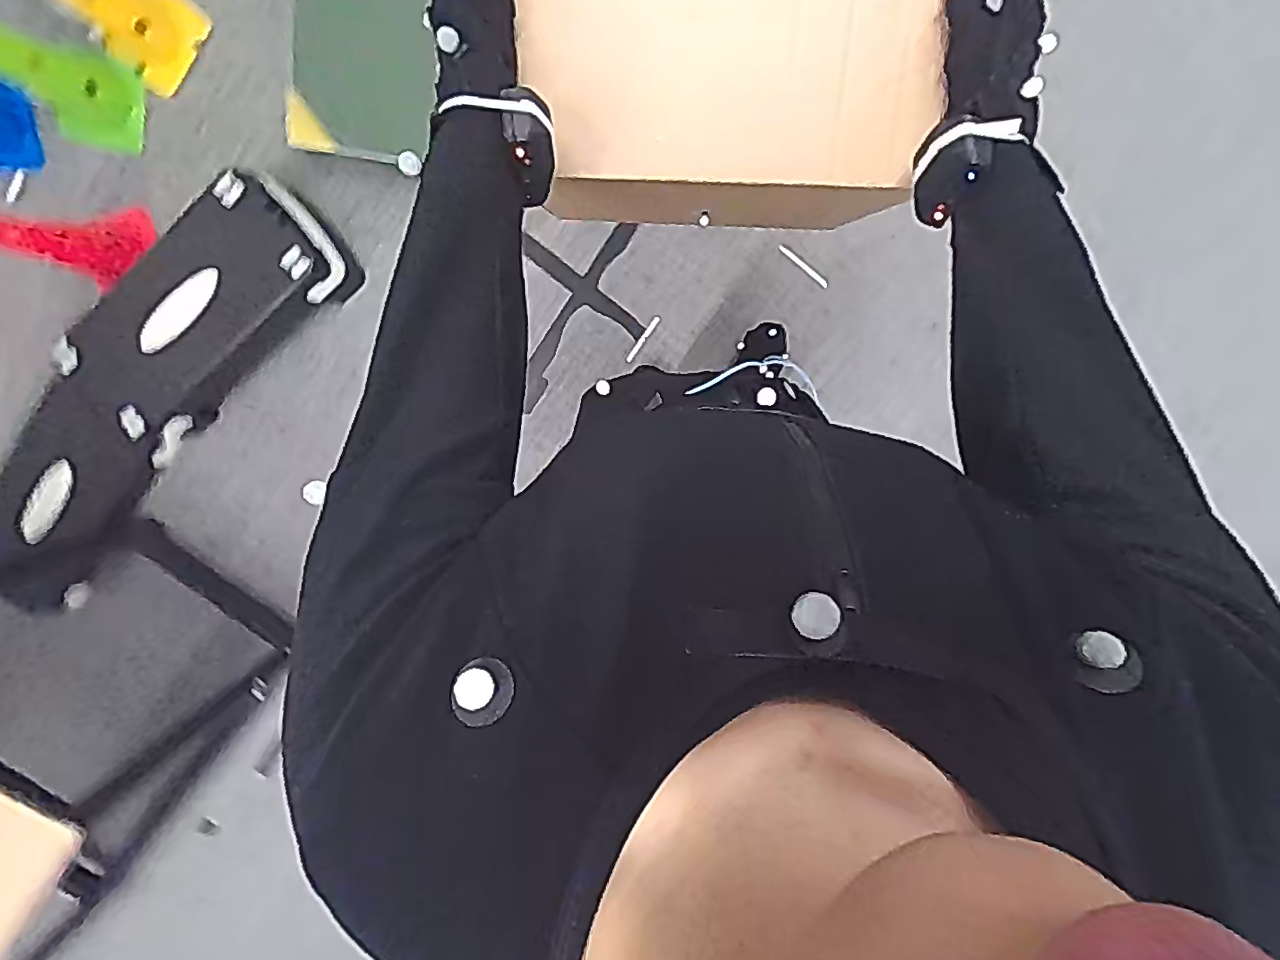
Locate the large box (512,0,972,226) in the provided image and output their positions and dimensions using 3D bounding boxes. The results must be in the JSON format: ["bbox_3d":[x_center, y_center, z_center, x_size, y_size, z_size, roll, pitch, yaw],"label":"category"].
[{"bbox_3d":[0.092,-0.471,0.601,0.408,0.320,0.320,3,108,0],"label":"large box"}]
